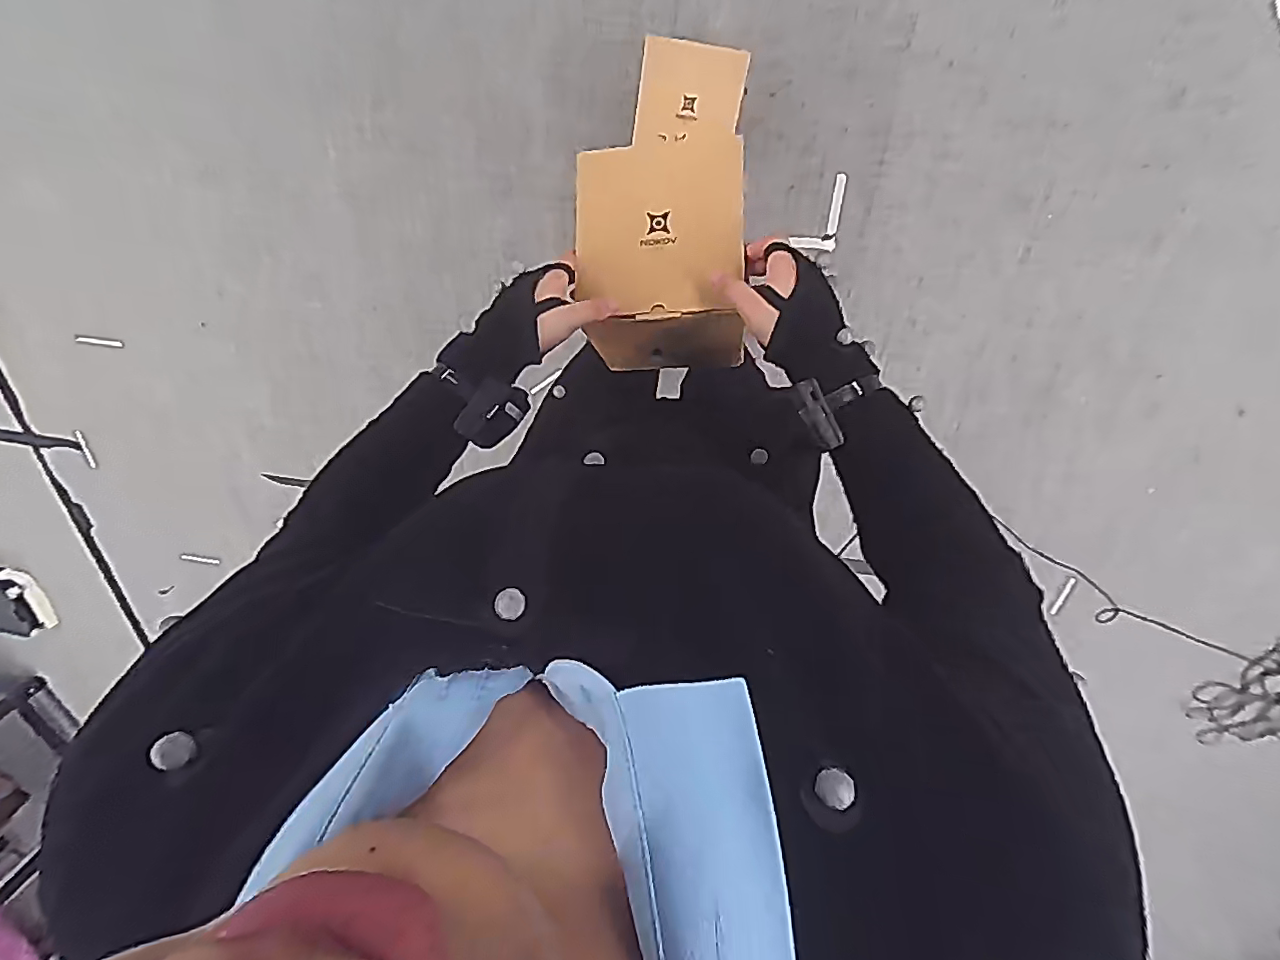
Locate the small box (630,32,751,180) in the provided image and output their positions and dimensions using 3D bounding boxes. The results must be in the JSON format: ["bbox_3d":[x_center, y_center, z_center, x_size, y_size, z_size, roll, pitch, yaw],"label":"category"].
[{"bbox_3d":[0.086,-0.631,0.932,0.168,0.176,0.179,12,121,3],"label":"small box"}]
